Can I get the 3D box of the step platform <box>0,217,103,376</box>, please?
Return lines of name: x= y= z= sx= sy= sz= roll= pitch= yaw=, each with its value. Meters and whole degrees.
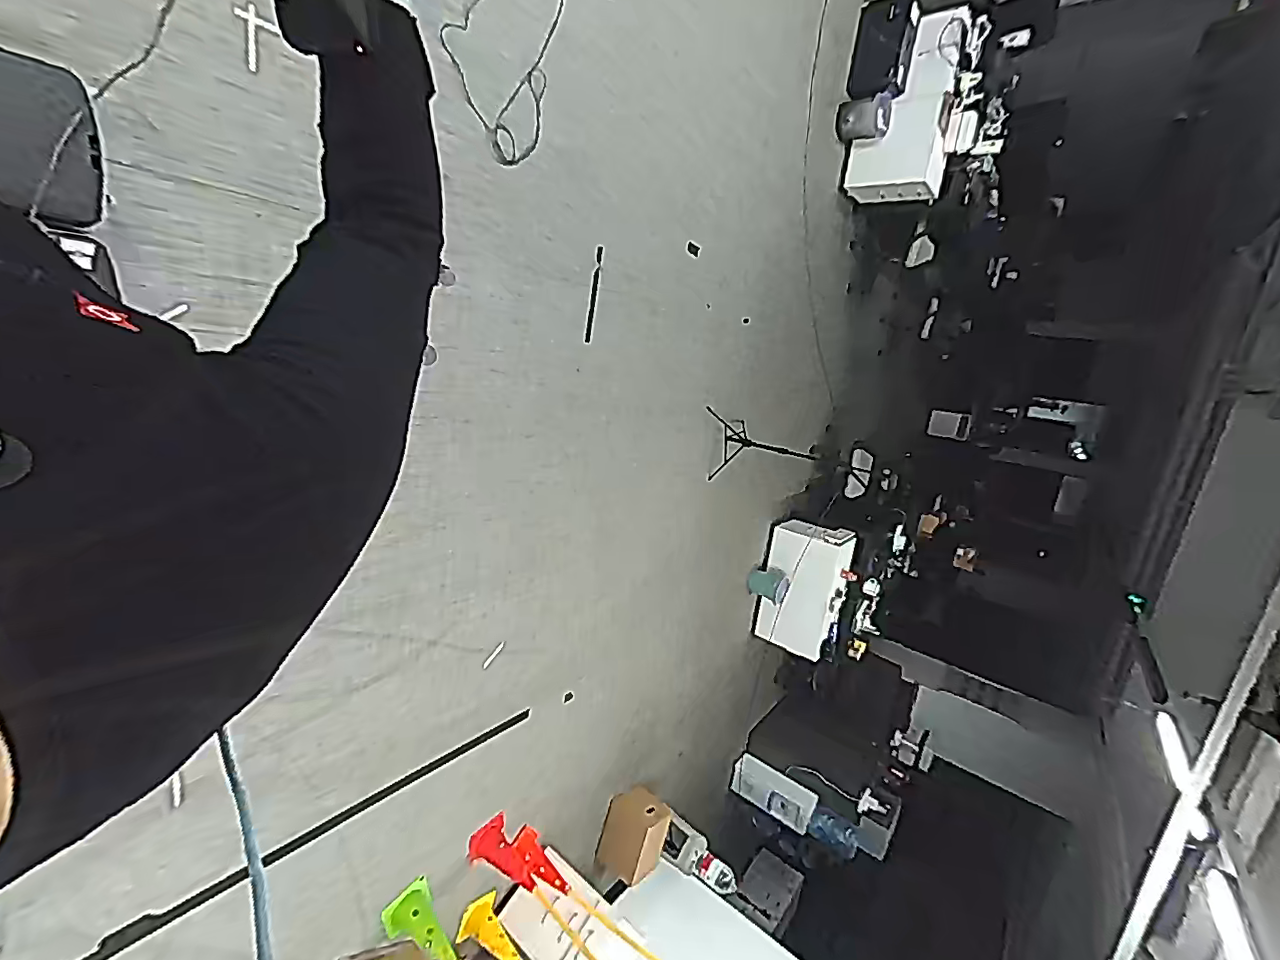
step platform: x=-1.330 y=-0.317 z=0.855 sx=0.684 sy=0.204 sz=0.286 roll=-11 pitch=113 yaw=-50
